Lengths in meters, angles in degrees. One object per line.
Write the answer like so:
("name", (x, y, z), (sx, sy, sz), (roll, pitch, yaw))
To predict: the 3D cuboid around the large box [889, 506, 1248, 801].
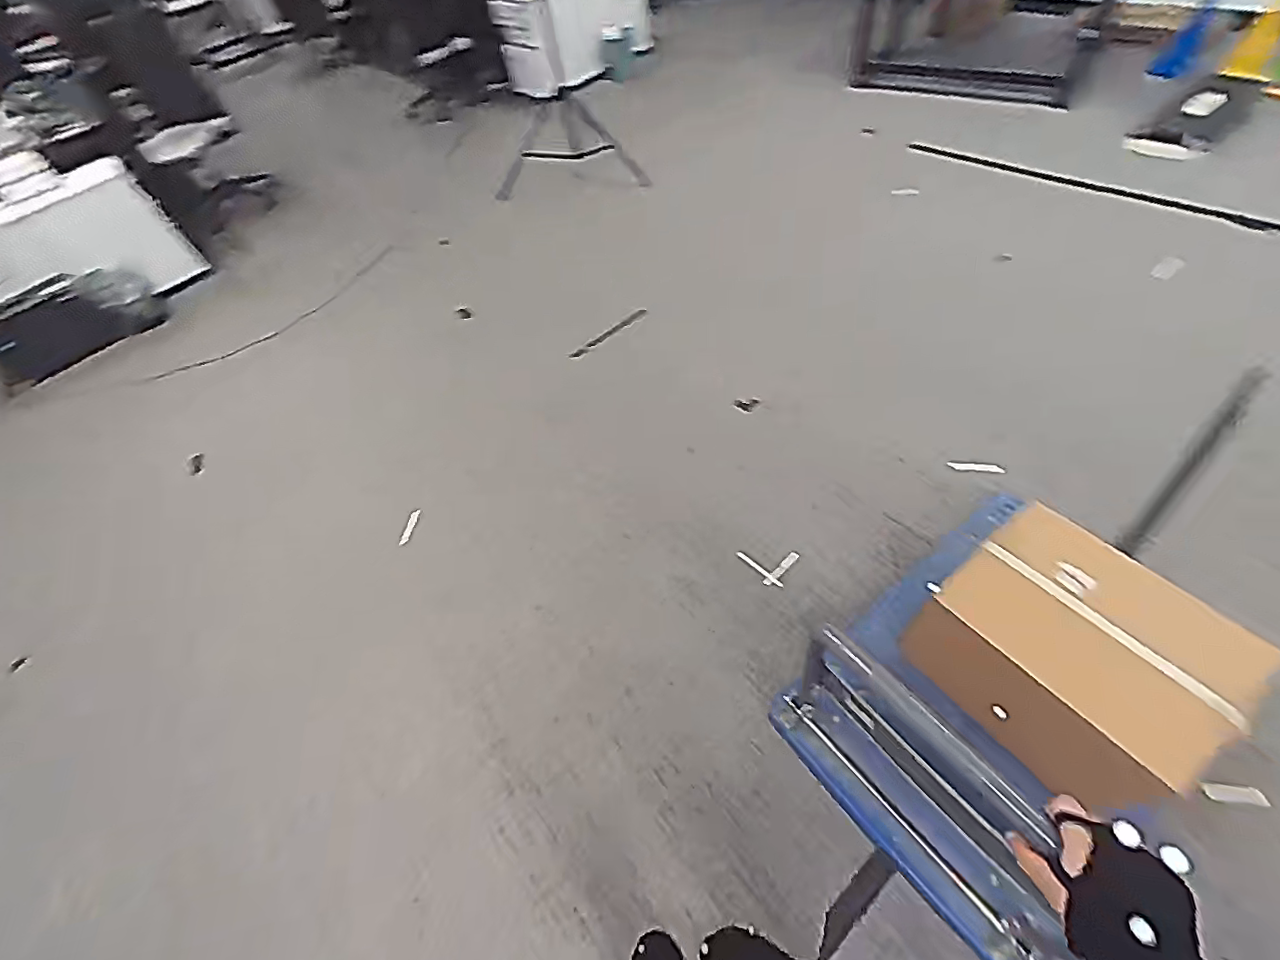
("large box", (0.784, 0.335, 1.066), (0.320, 0.320, 0.408), (-36, 54, -16))
